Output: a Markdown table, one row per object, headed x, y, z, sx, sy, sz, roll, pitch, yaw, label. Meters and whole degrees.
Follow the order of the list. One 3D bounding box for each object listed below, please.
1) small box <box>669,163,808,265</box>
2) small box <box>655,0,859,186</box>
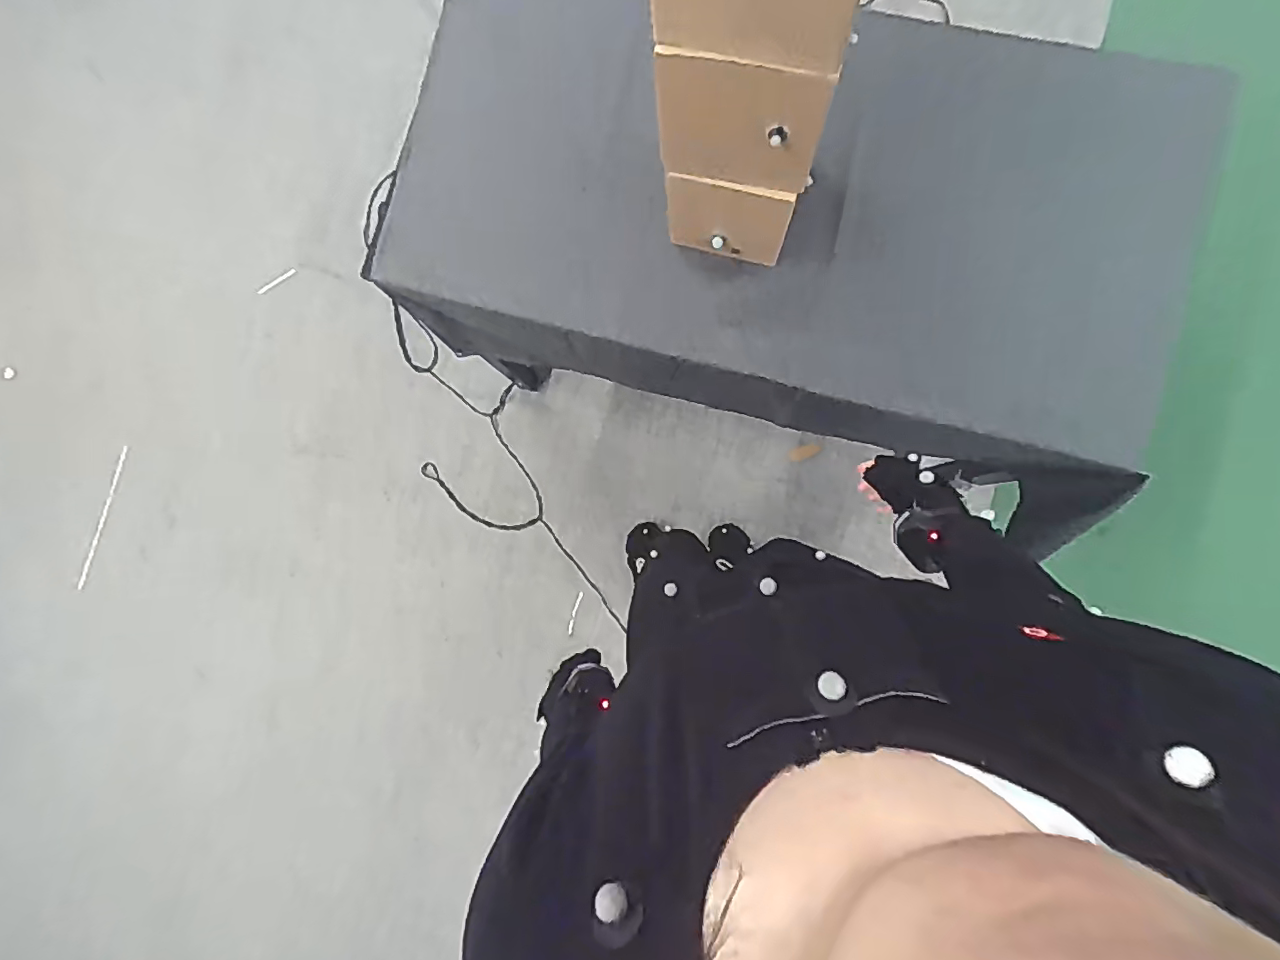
| x | y | z | sx | sy | sz | roll | pitch | yaw | label |
| --- | --- | --- | --- | --- | --- | --- | --- | --- | --- |
| 0.143 | -0.432 | 0.745 | 0.168 | 0.176 | 0.179 | 17 | 86 | 7 | small box |
| 0.124 | -0.453 | 0.584 | 0.179 | 0.176 | 0.168 | 14 | 84 | 7 | small box |
